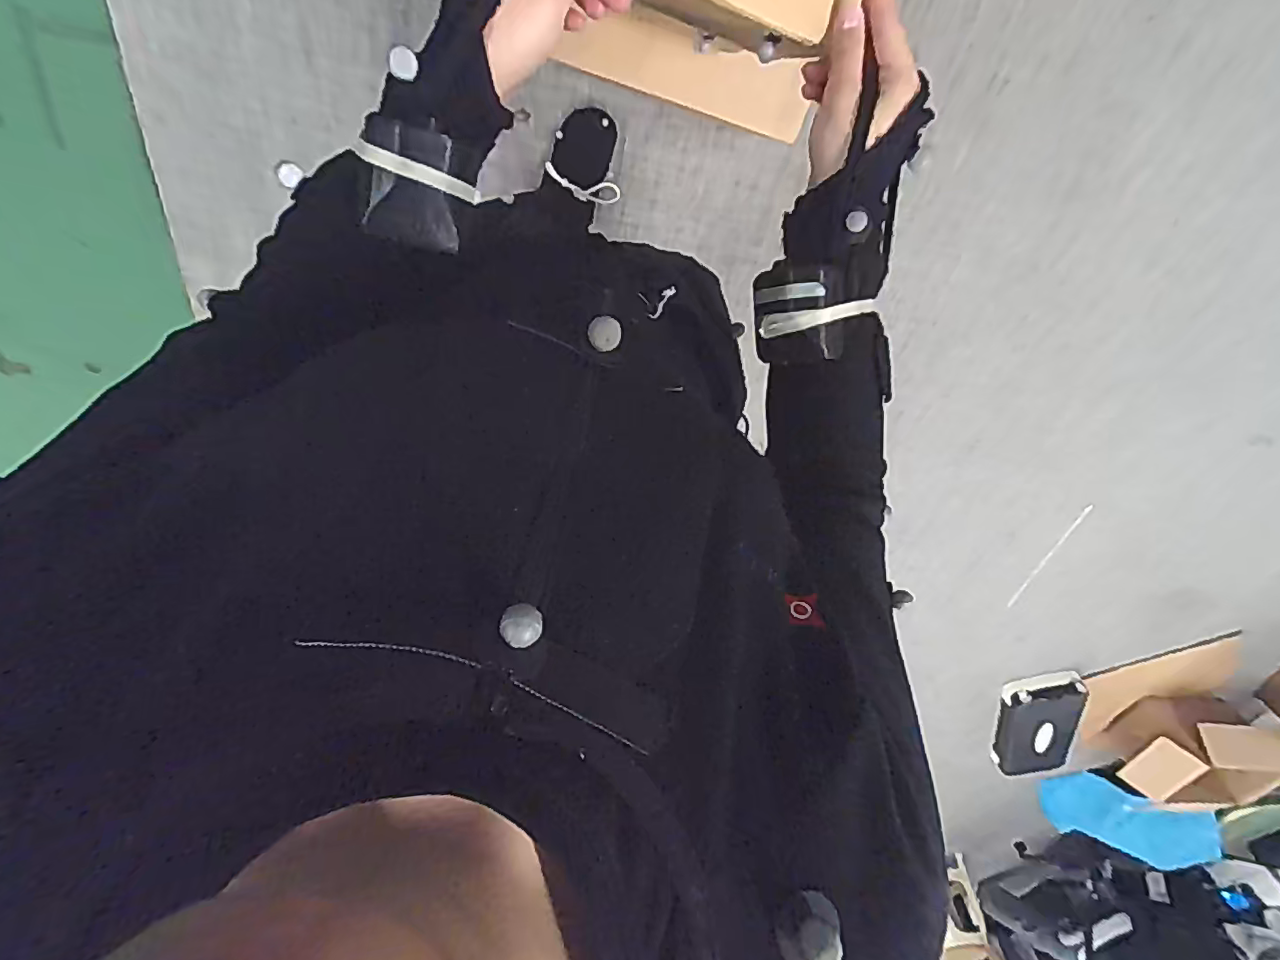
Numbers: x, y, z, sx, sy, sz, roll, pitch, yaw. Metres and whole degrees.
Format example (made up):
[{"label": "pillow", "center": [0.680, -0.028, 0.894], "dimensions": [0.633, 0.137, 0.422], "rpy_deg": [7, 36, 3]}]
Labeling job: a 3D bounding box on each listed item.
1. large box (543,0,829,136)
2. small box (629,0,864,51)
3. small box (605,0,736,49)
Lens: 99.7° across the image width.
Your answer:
[{"label": "large box", "center": [0.079, -0.769, 0.831], "dimensions": [0.408, 0.320, 0.320], "rpy_deg": [10, 125, -12]}, {"label": "small box", "center": [0.061, -0.394, 0.337], "dimensions": [0.179, 0.176, 0.168], "rpy_deg": [10, 125, -15]}, {"label": "small box", "center": [0.056, -0.530, 0.499], "dimensions": [0.168, 0.176, 0.179], "rpy_deg": [9, 124, -13]}]
